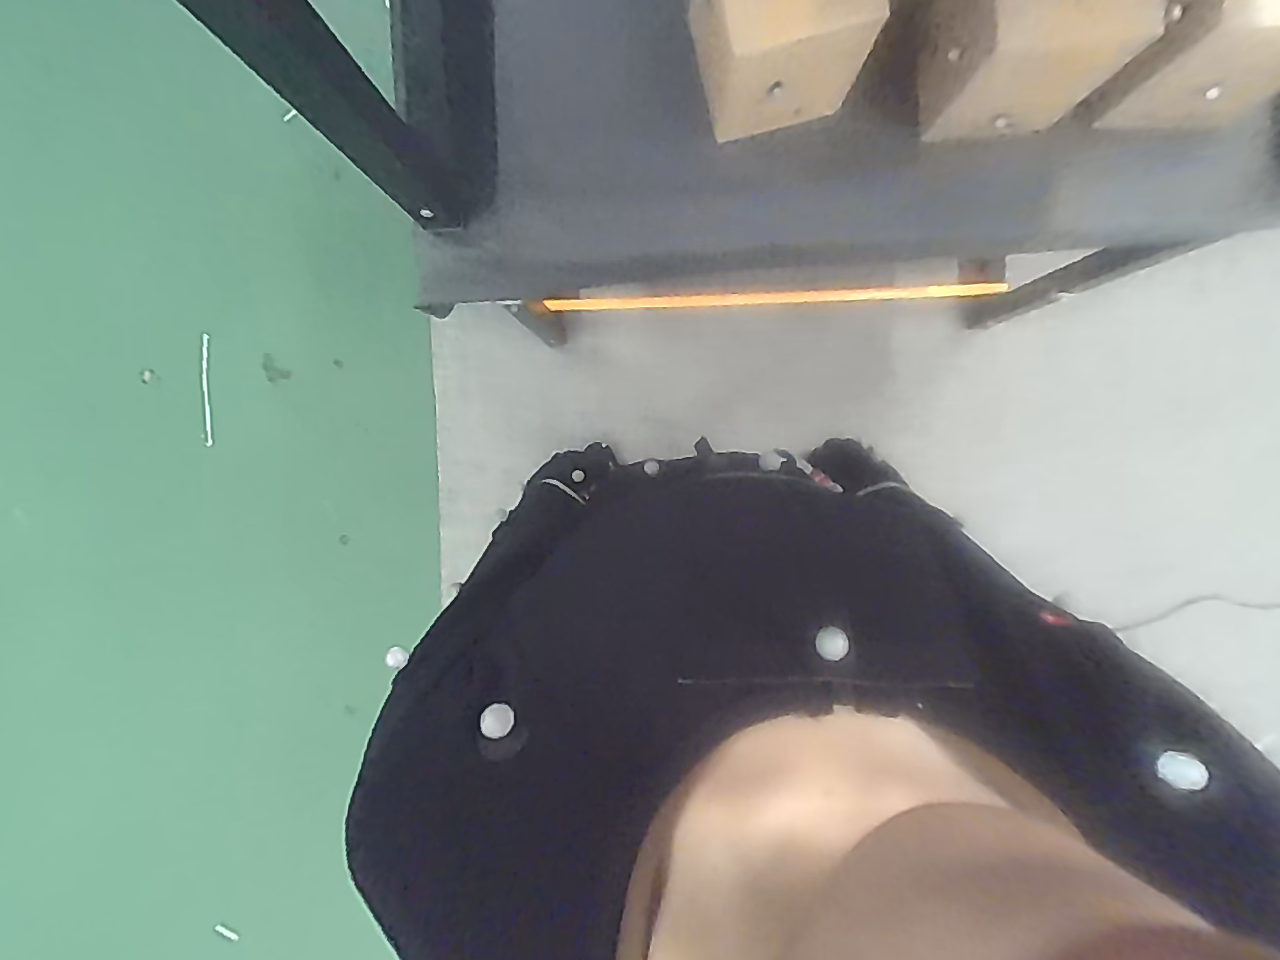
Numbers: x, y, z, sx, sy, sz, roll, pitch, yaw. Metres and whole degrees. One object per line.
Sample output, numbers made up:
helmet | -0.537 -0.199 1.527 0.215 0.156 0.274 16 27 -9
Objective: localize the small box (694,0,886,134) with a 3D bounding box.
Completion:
small box | 0.163 -0.546 0.637 0.168 0.176 0.179 -13 92 3
